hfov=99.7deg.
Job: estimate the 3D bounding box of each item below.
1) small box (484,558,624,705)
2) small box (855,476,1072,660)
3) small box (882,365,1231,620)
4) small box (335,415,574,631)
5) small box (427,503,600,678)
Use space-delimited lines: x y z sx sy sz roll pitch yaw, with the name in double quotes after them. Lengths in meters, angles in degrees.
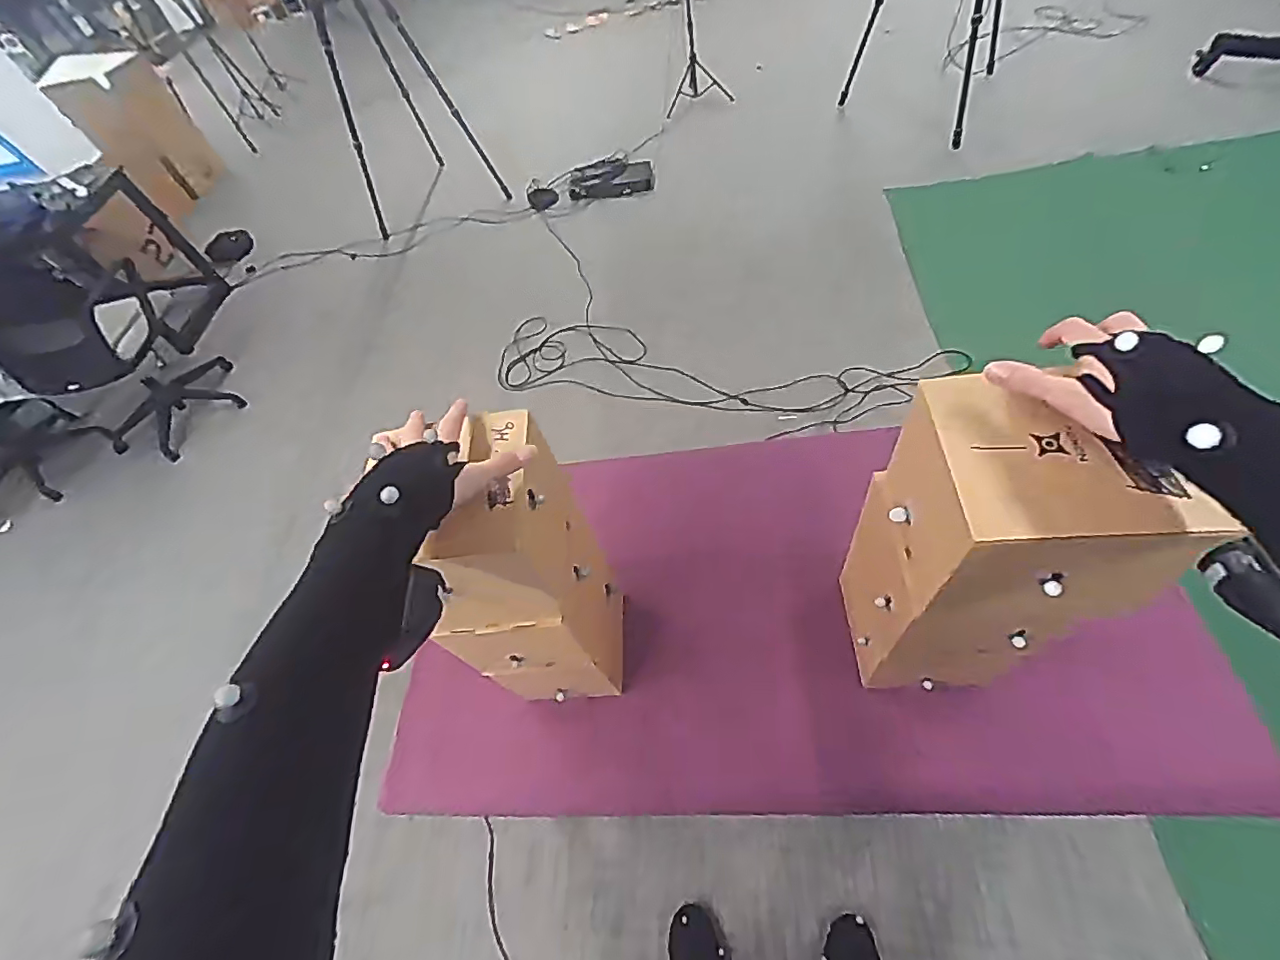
-0.124 0.242 0.853 0.168 0.176 0.179 -7 55 9 "small box"
0.362 0.104 0.631 0.168 0.176 0.179 -6 55 9 "small box"
0.339 0.021 0.492 0.179 0.176 0.168 -4 55 11 "small box"
-0.183 0.056 0.592 0.179 0.176 0.168 -9 55 8 "small box"
-0.153 0.149 0.723 0.168 0.176 0.179 -7 55 8 "small box"
